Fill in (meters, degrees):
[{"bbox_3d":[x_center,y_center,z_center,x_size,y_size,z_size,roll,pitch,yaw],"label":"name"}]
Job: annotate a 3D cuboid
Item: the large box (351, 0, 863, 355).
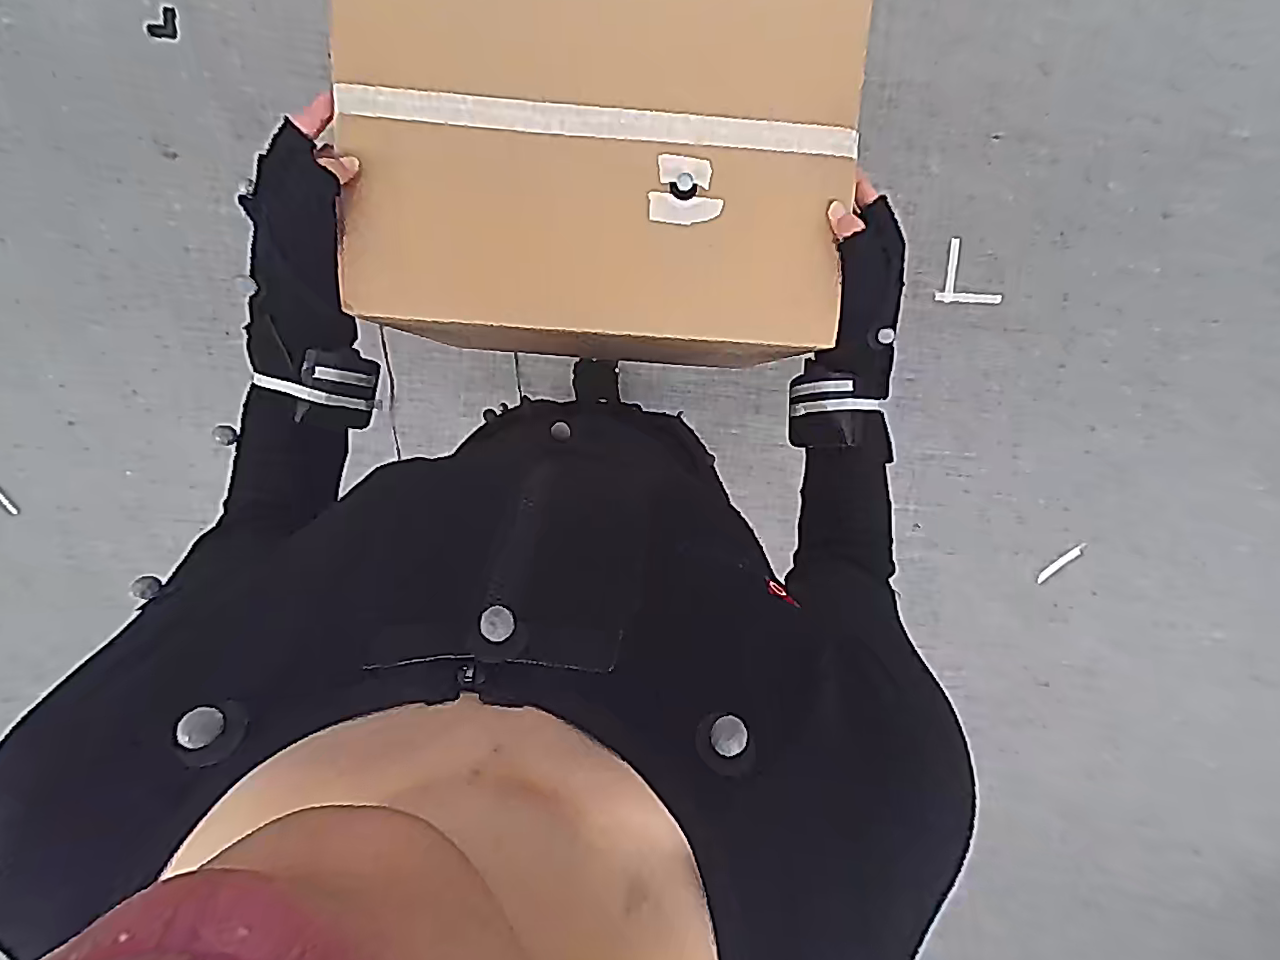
[{"bbox_3d":[-0.035,-0.312,0.576,0.408,0.320,0.320,3,99,-3],"label":"large box"}]
